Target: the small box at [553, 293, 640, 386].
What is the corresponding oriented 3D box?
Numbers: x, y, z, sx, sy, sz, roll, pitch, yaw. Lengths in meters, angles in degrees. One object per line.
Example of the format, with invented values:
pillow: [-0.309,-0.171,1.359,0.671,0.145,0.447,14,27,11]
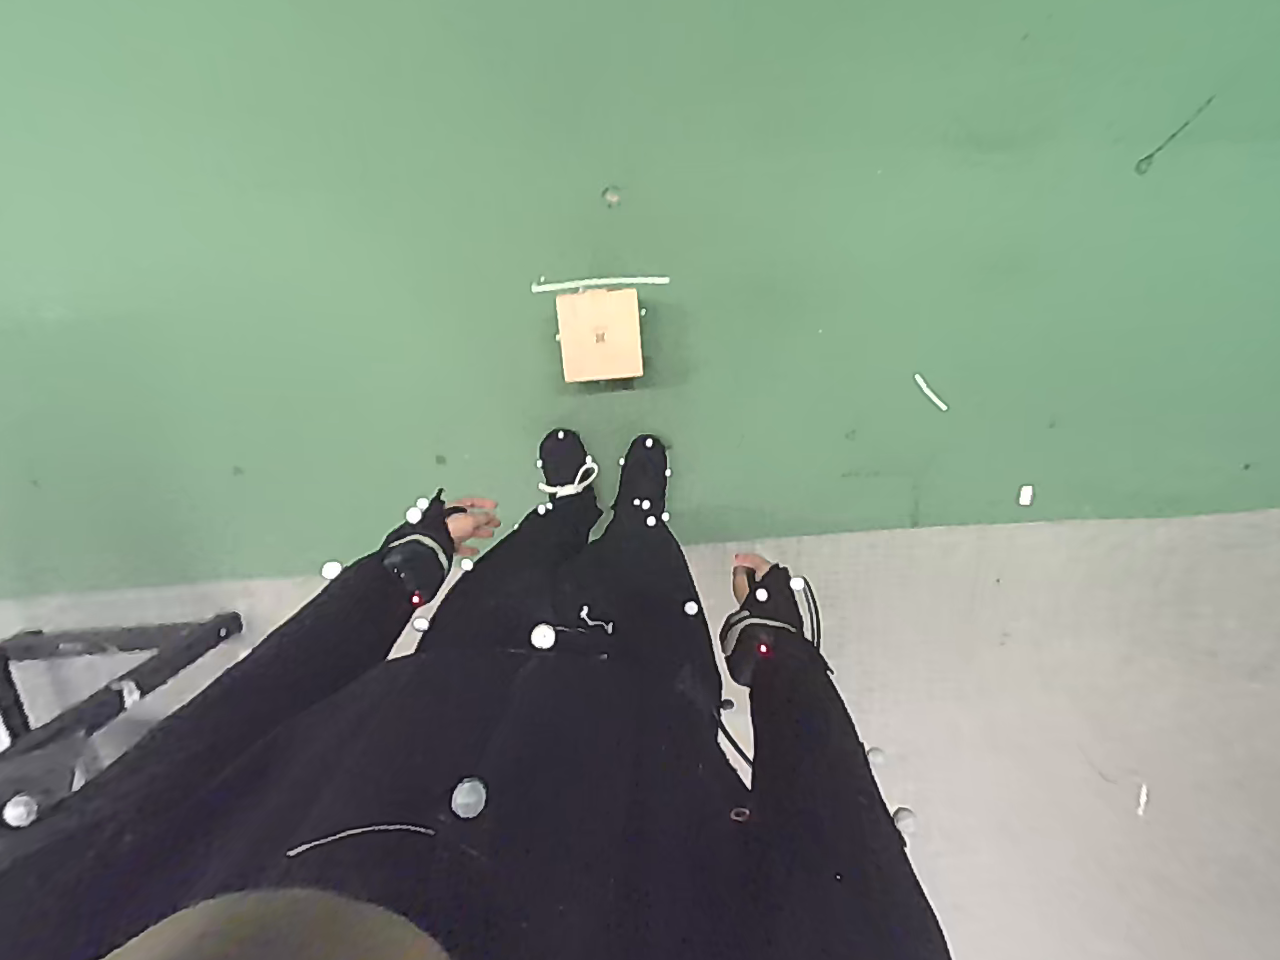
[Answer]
small box: [-0.090,-0.303,1.181,0.168,0.176,0.179,-5,103,1]
